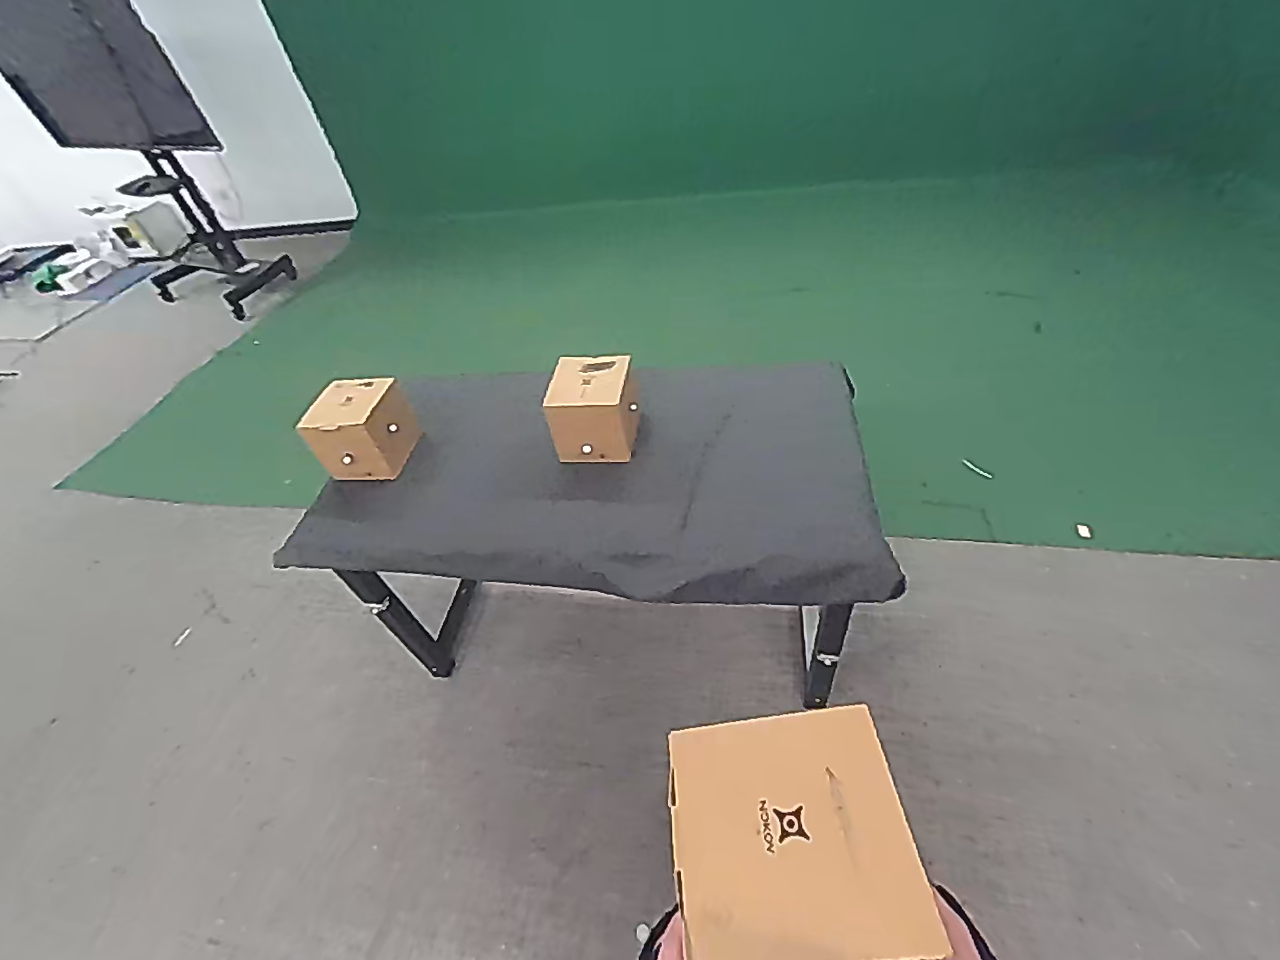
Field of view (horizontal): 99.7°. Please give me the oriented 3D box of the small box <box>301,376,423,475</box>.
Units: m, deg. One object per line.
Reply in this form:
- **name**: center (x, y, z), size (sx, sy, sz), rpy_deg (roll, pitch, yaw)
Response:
- **small box**: center (-0.643, -0.126, 1.281), size (0.168, 0.176, 0.179), rpy_deg (0, 47, 8)

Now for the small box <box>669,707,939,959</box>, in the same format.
- **small box**: center (0.131, 0.326, 0.478), size (0.179, 0.176, 0.168), rpy_deg (-11, 44, 7)

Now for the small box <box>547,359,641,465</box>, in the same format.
- **small box**: center (-0.095, -0.156, 1.225), size (0.168, 0.176, 0.179), rpy_deg (1, 48, 10)
